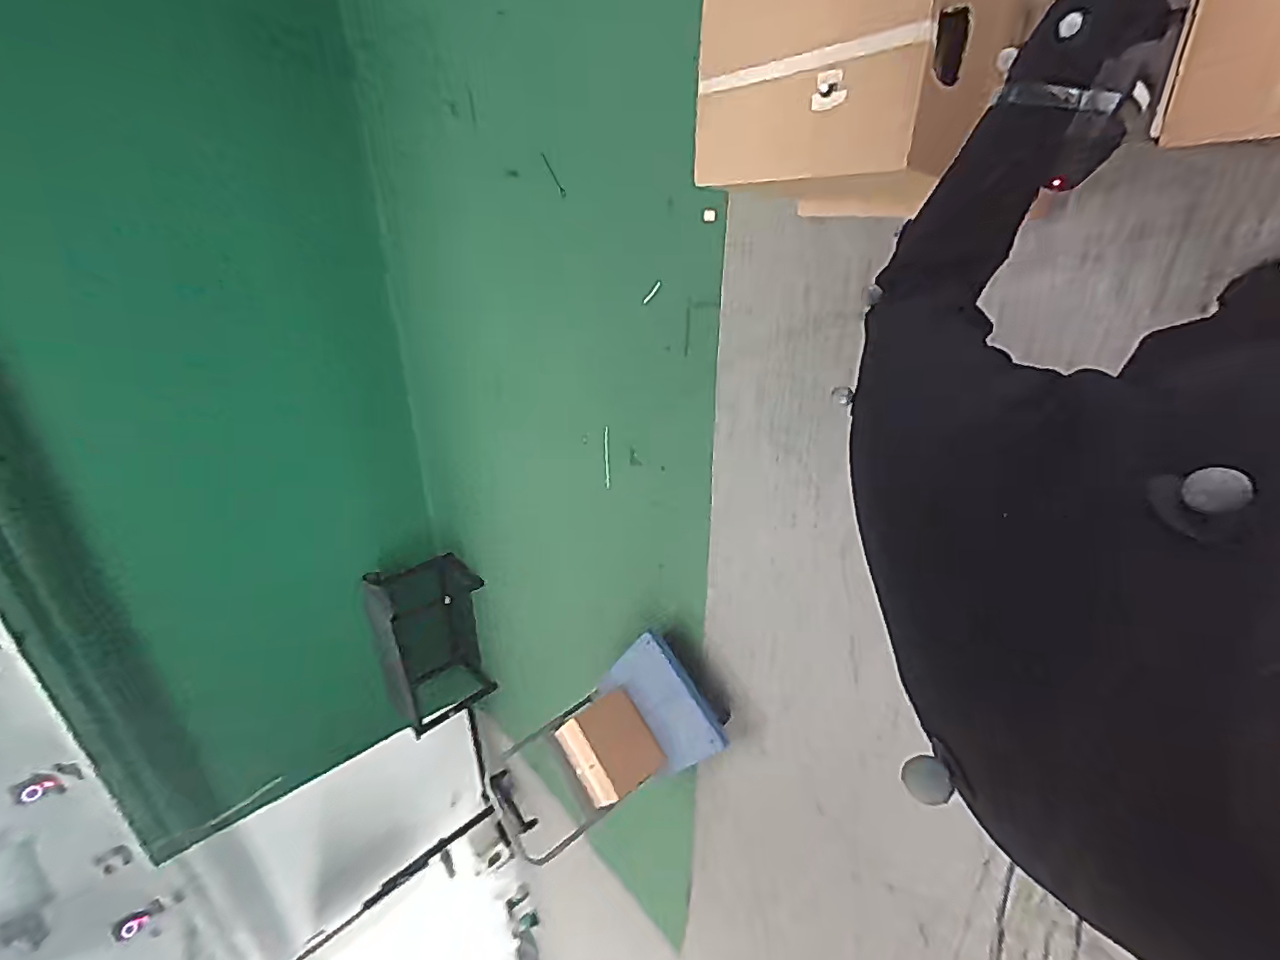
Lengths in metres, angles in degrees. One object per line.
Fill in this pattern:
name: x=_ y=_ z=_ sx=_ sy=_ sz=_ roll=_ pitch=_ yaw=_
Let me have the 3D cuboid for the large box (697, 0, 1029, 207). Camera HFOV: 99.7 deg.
large box: x=0.357 y=-0.666 z=0.927 sx=0.408 sy=0.320 sz=0.320 roll=25 pitch=120 yaw=42
